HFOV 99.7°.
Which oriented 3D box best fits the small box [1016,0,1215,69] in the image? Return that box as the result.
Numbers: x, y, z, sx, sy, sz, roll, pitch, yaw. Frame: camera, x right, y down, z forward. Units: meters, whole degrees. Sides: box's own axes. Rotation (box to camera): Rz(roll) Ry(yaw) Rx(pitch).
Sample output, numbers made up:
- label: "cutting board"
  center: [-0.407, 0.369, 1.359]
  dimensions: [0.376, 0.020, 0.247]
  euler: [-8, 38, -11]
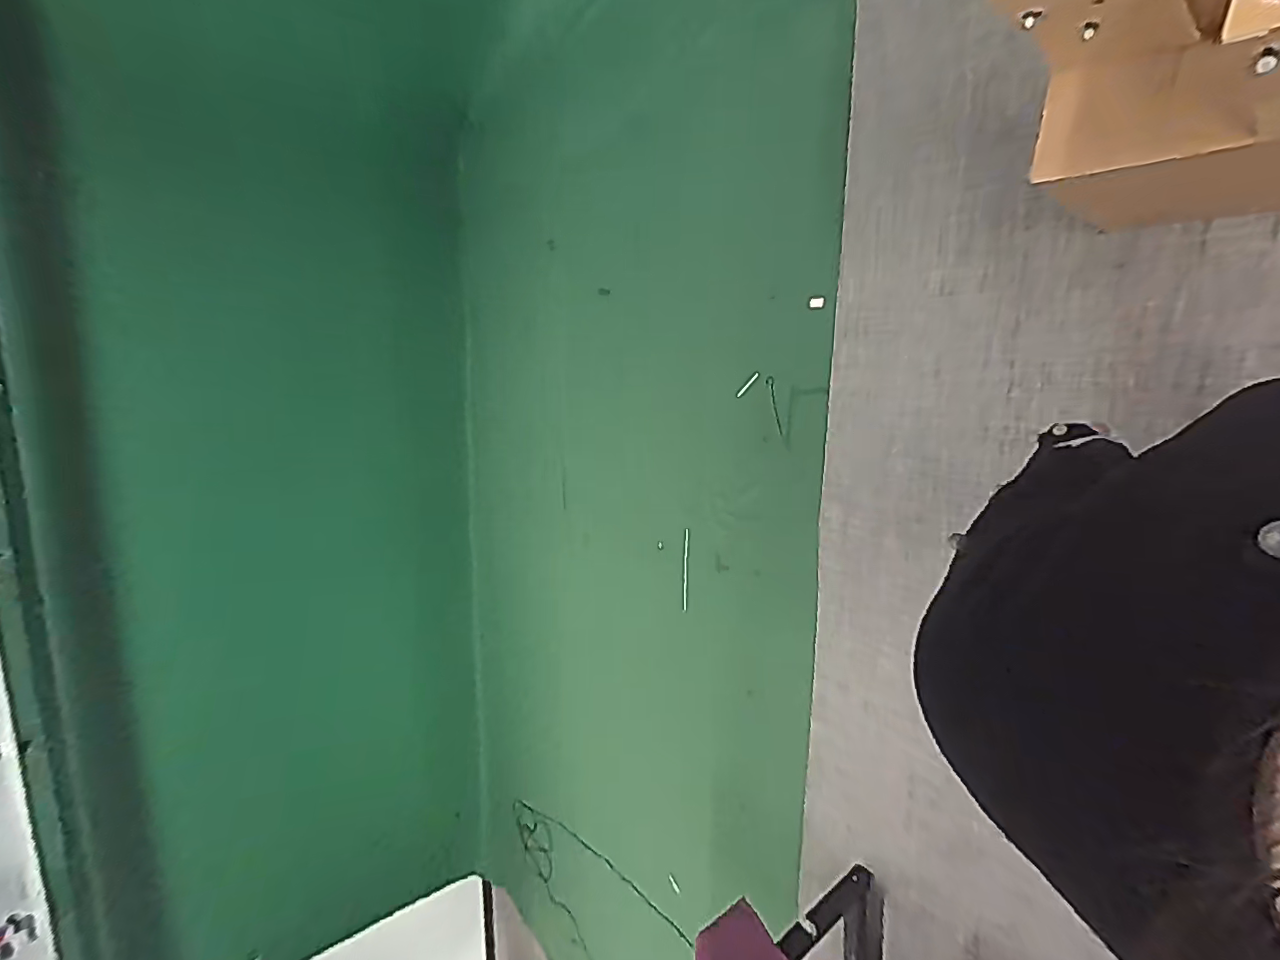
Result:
- label: "small box"
  center: [0.652, -0.688, 0.721]
  dimensions: [0.179, 0.176, 0.168]
  euler: [26, 115, 46]

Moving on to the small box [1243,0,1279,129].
- label: "small box"
  center: [0.787, -0.501, 0.571]
  dimensions: [0.168, 0.176, 0.179]
  euler: [15, 107, 50]
